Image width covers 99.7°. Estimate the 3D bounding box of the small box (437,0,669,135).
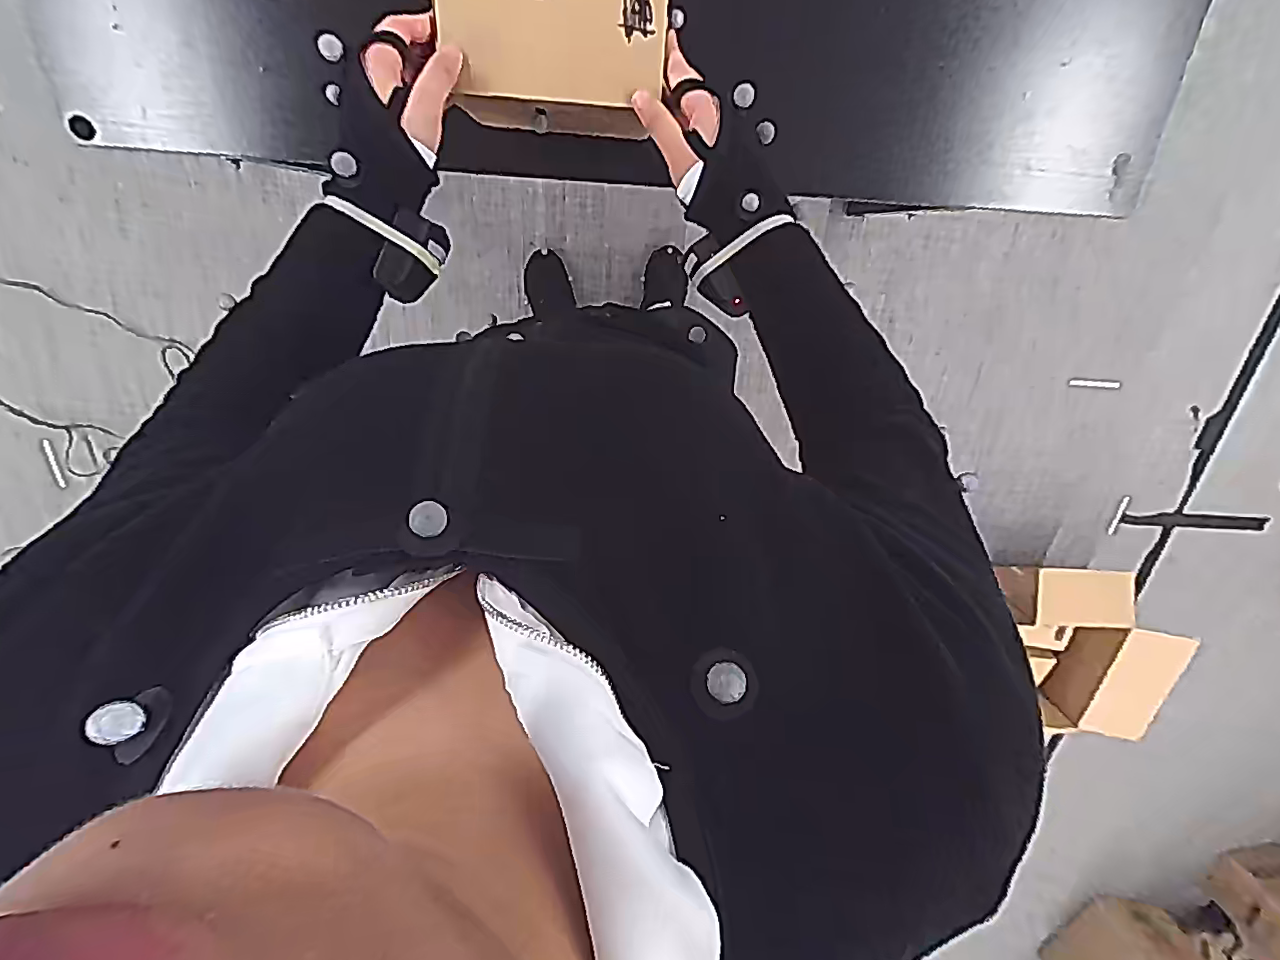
[{"bbox_3d":[-0.066,-0.413,0.470,0.179,0.176,0.168,2,115,-5],"label":"small box"}]
